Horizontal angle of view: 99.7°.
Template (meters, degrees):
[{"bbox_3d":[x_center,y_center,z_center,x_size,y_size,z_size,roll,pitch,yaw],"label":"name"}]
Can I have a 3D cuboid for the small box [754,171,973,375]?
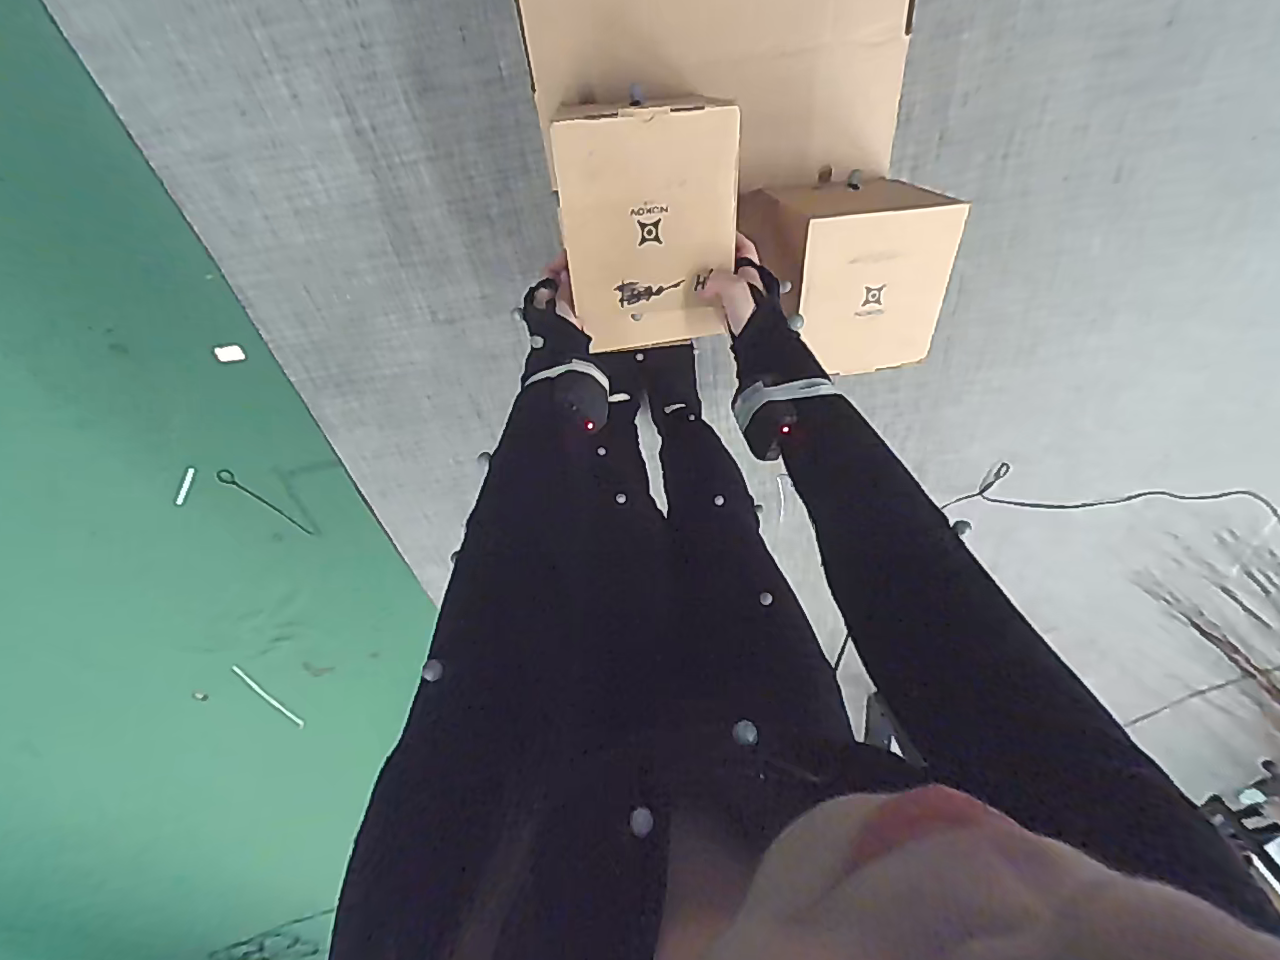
[{"bbox_3d":[0.238,-0.246,0.633,0.168,0.176,0.179,-7,128,-4],"label":"small box"}]

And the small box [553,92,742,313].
[{"bbox_3d":[0.004,-0.294,0.567,0.168,0.176,0.179,-6,127,-1],"label":"small box"}]
